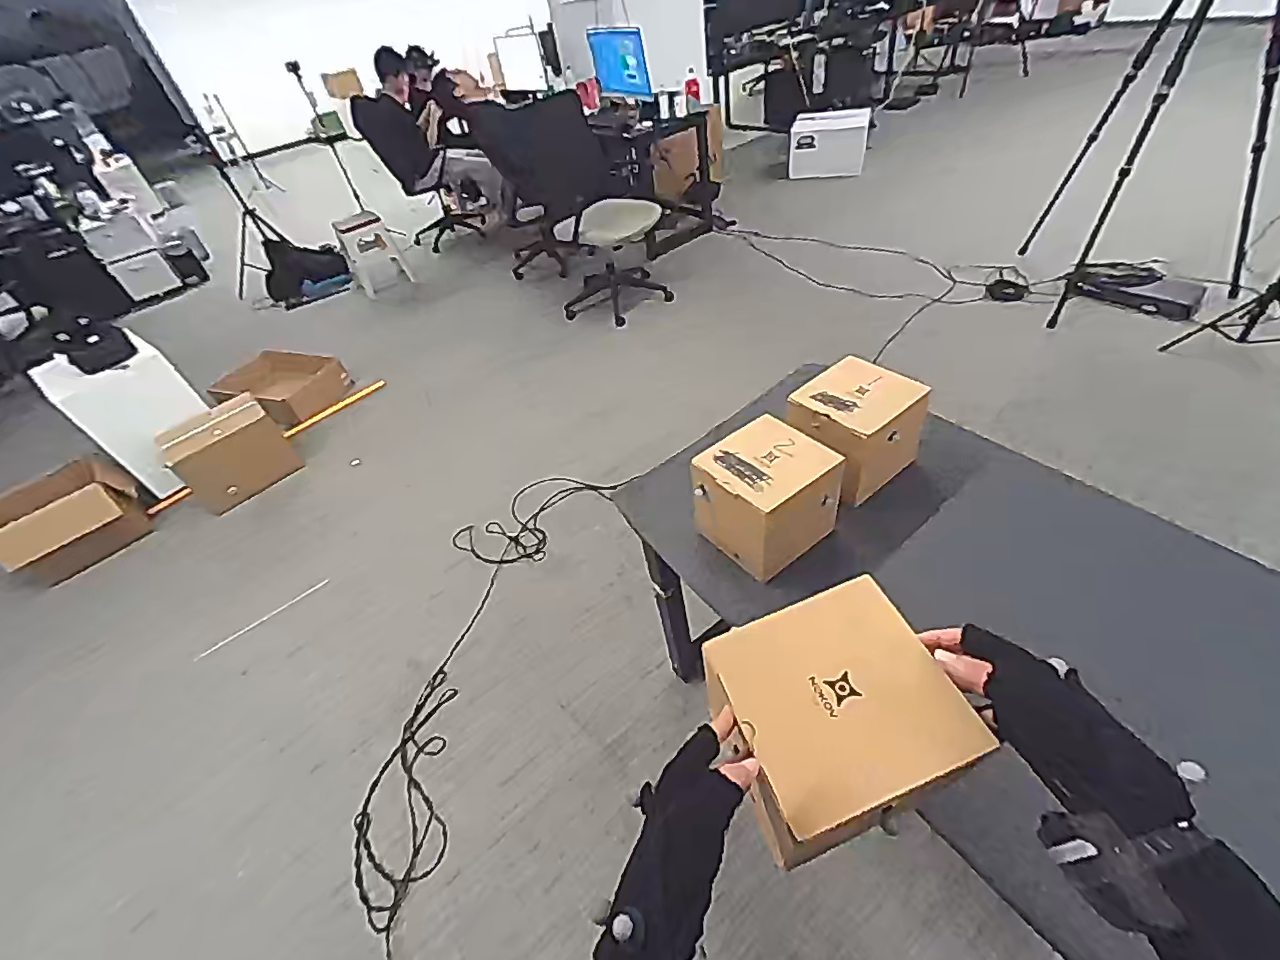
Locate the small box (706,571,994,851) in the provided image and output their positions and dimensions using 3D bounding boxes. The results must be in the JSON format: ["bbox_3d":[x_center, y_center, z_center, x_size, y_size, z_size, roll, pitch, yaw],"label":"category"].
[{"bbox_3d":[0.176,0.220,0.512,0.179,0.176,0.168,-22,50,-6],"label":"small box"}]

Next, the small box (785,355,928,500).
[{"bbox_3d":[0.383,-0.094,0.981,0.179,0.176,0.168,-33,48,-21],"label":"small box"}]
